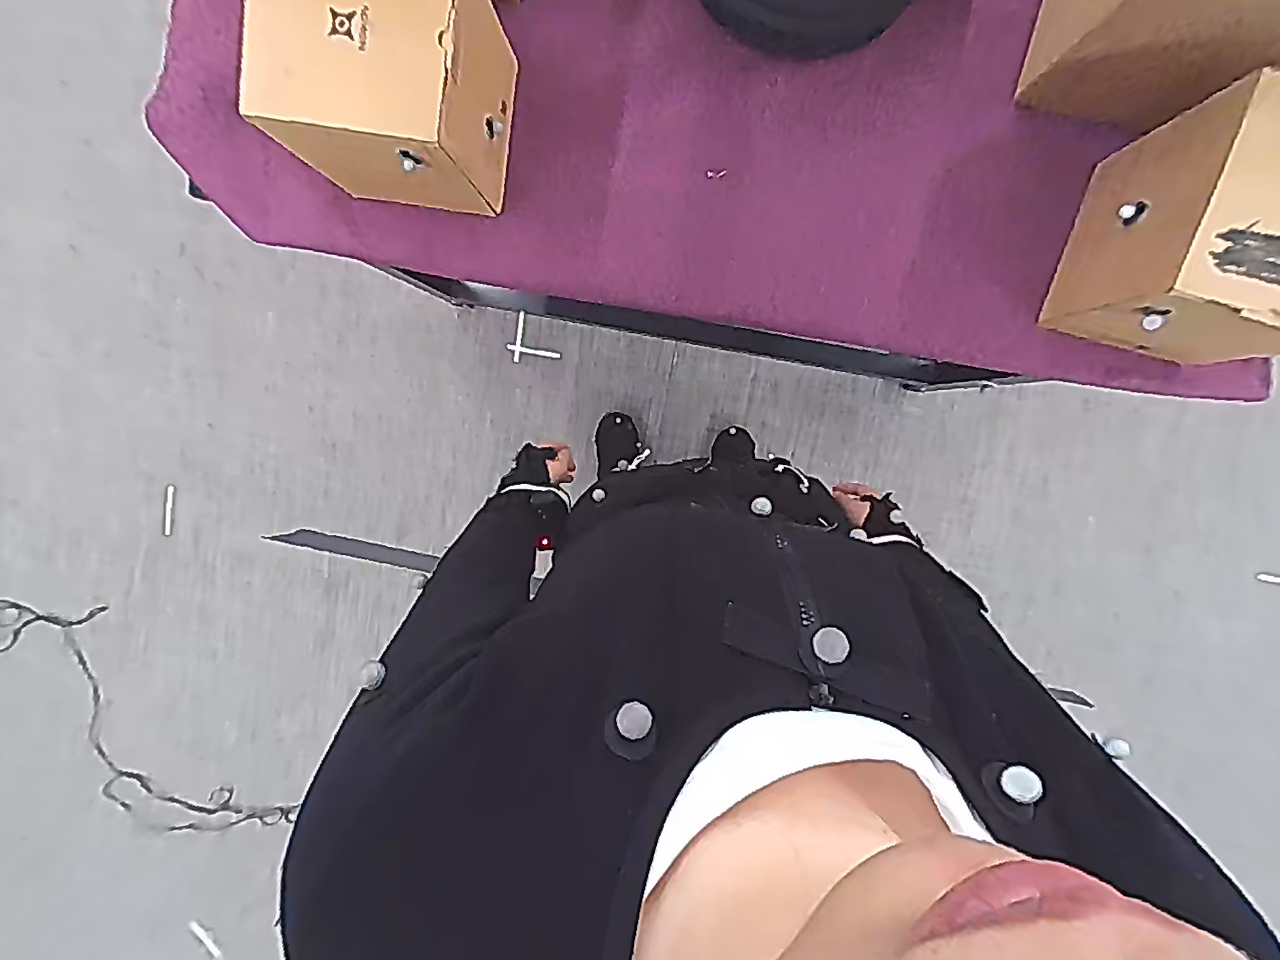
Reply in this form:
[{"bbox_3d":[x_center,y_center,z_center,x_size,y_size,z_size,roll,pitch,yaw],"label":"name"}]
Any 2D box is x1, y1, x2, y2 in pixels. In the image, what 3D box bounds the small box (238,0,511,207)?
[{"bbox_3d":[-0.240,-0.387,0.525,0.179,0.176,0.168,8,97,1],"label":"small box"}]
